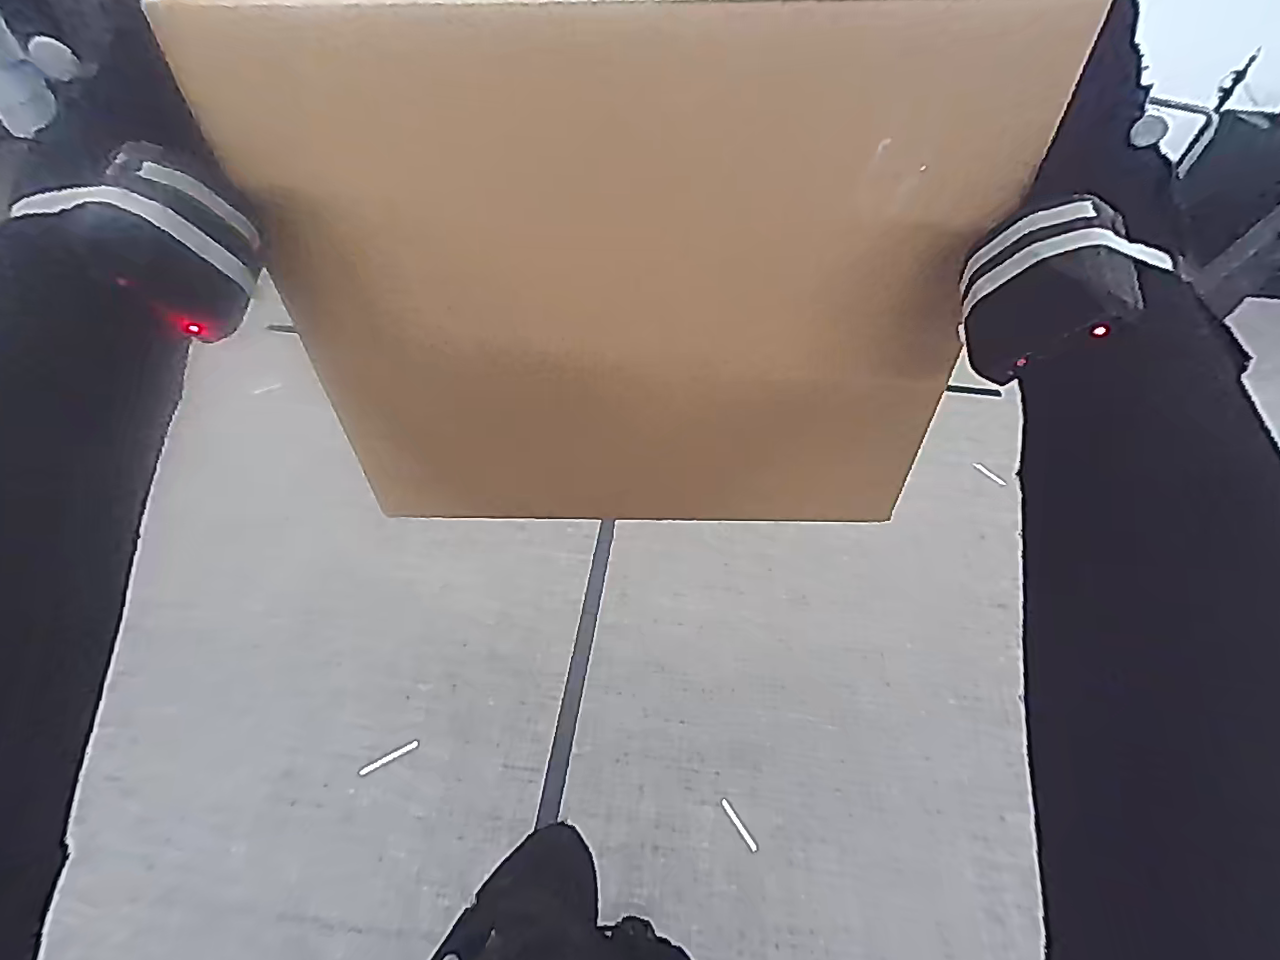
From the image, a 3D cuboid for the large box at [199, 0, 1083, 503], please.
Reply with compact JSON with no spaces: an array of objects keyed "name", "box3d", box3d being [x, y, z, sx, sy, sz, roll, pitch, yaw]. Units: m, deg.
[{"name":"large box","box3d":[0.000,-0.192,0.447,0.408,0.320,0.320,1,42,1]}]
